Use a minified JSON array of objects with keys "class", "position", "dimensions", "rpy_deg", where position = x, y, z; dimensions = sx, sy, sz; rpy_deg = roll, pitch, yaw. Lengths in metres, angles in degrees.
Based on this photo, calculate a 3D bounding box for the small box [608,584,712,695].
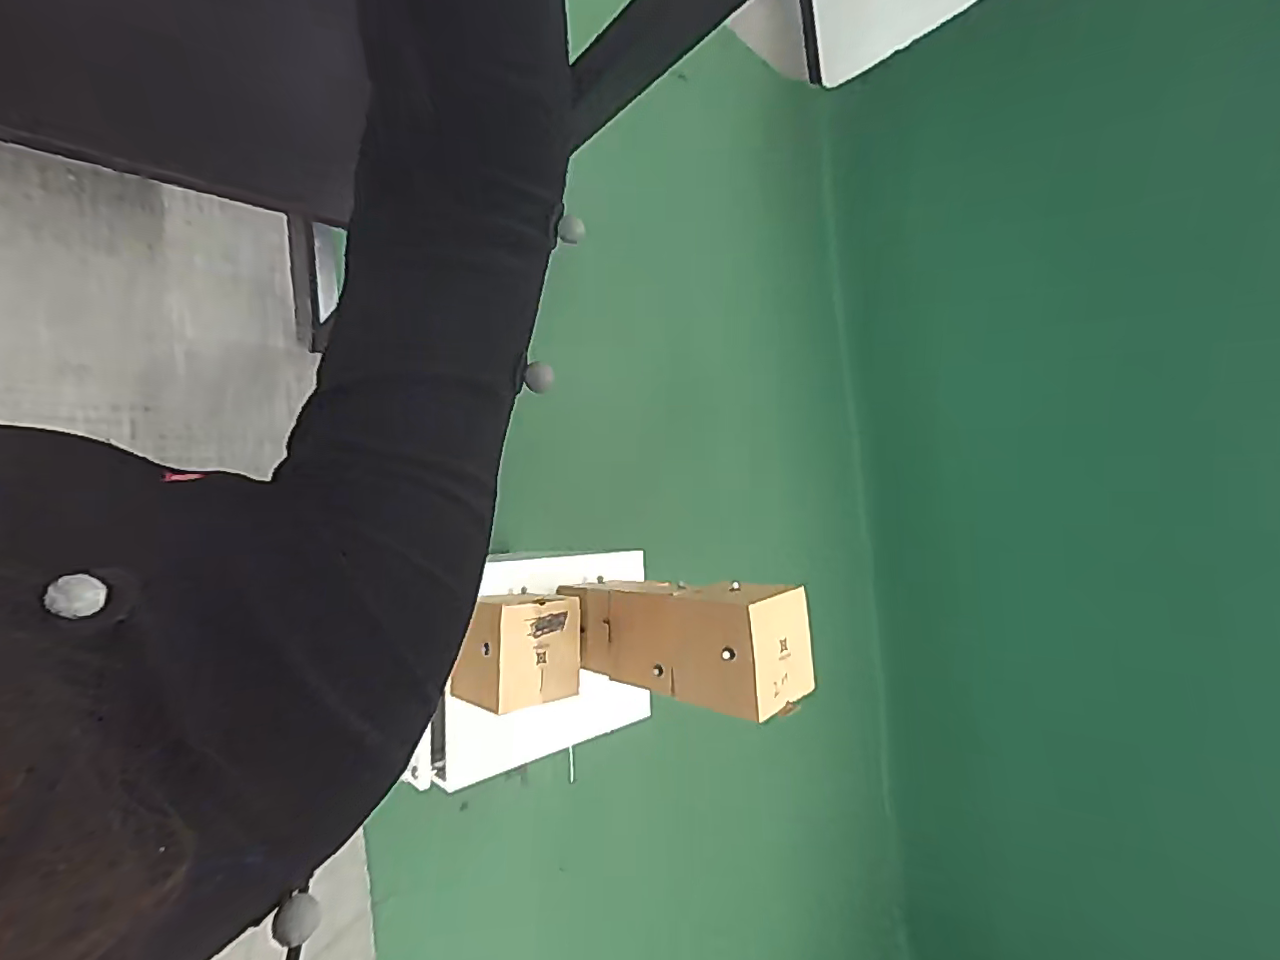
[{"class":"small box","position":[0.053,0.288,1.022],"dimensions":[0.168,0.176,0.179],"rpy_deg":[7,81,-44]}]

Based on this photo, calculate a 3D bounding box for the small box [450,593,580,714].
[{"class":"small box","position":[-0.226,0.298,0.971],"dimensions":[0.168,0.176,0.179],"rpy_deg":[7,81,-45]}]

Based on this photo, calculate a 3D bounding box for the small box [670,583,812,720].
[{"class":"small box","position":[0.164,0.270,0.901],"dimensions":[0.168,0.176,0.179],"rpy_deg":[-3,88,-44]}]
